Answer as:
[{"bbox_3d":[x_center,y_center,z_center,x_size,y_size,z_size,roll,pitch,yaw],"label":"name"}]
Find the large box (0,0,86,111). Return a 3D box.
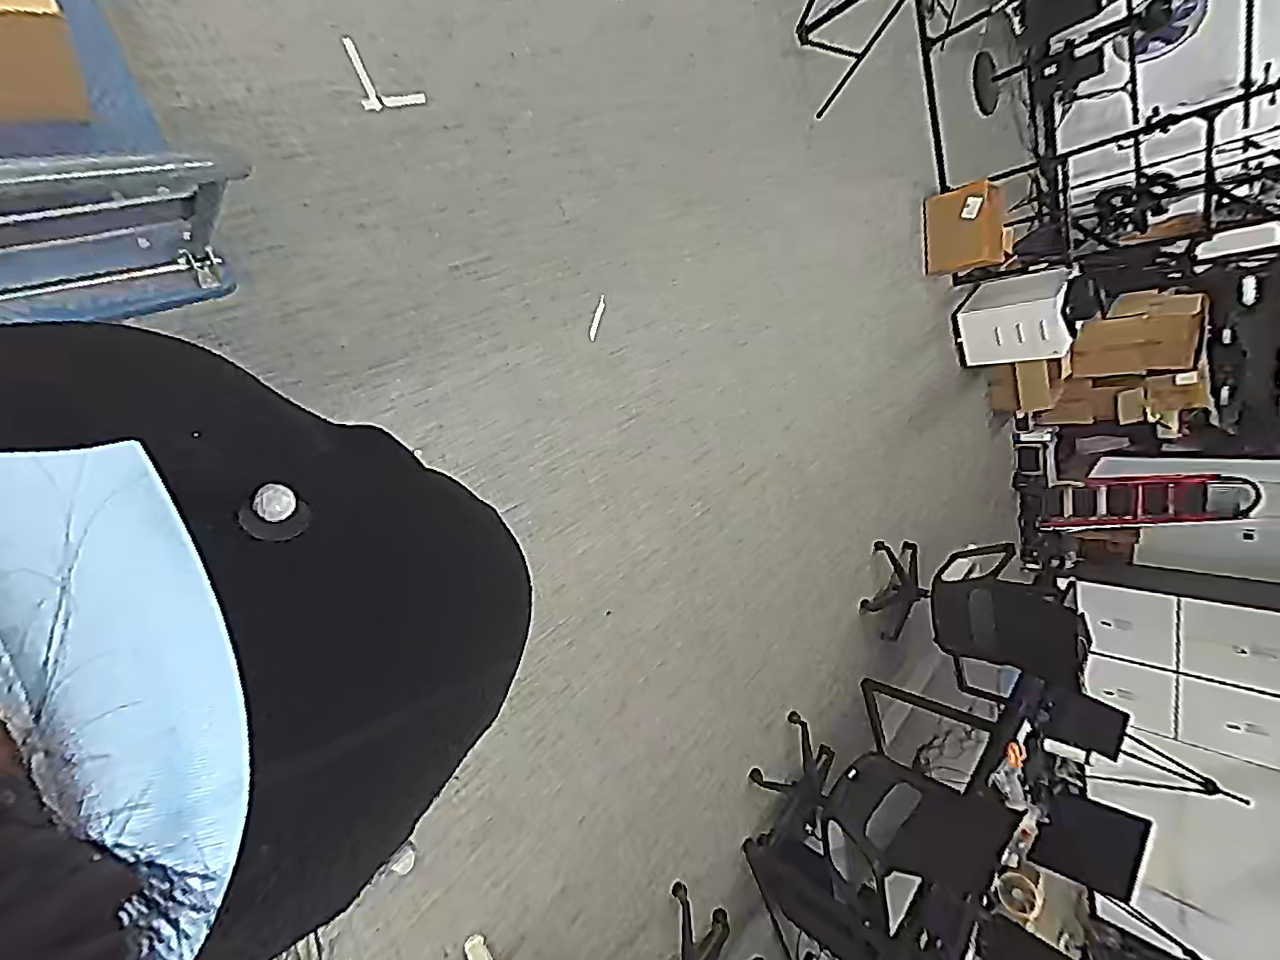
[{"bbox_3d":[-1.042,-0.686,0.663,0.408,0.320,0.320,-29,110,-34],"label":"large box"}]
